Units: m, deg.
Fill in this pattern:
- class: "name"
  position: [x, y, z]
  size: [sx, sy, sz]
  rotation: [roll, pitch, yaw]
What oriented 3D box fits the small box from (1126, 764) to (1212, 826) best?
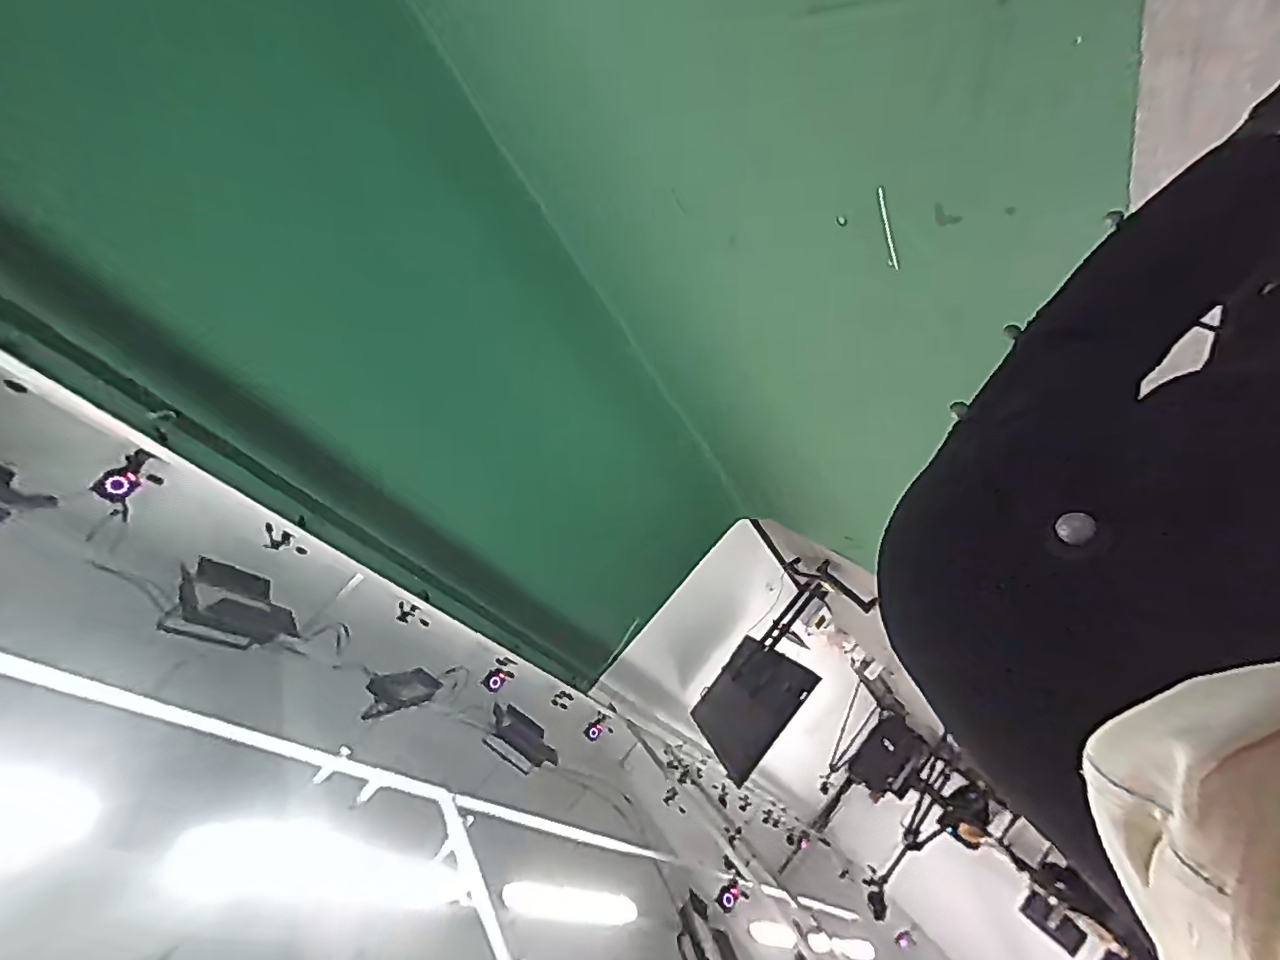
- class: "small box"
  position: [1.539, 0.841, 1.544]
  size: [0.168, 0.176, 0.179]
  rotation: [32, 167, 50]
